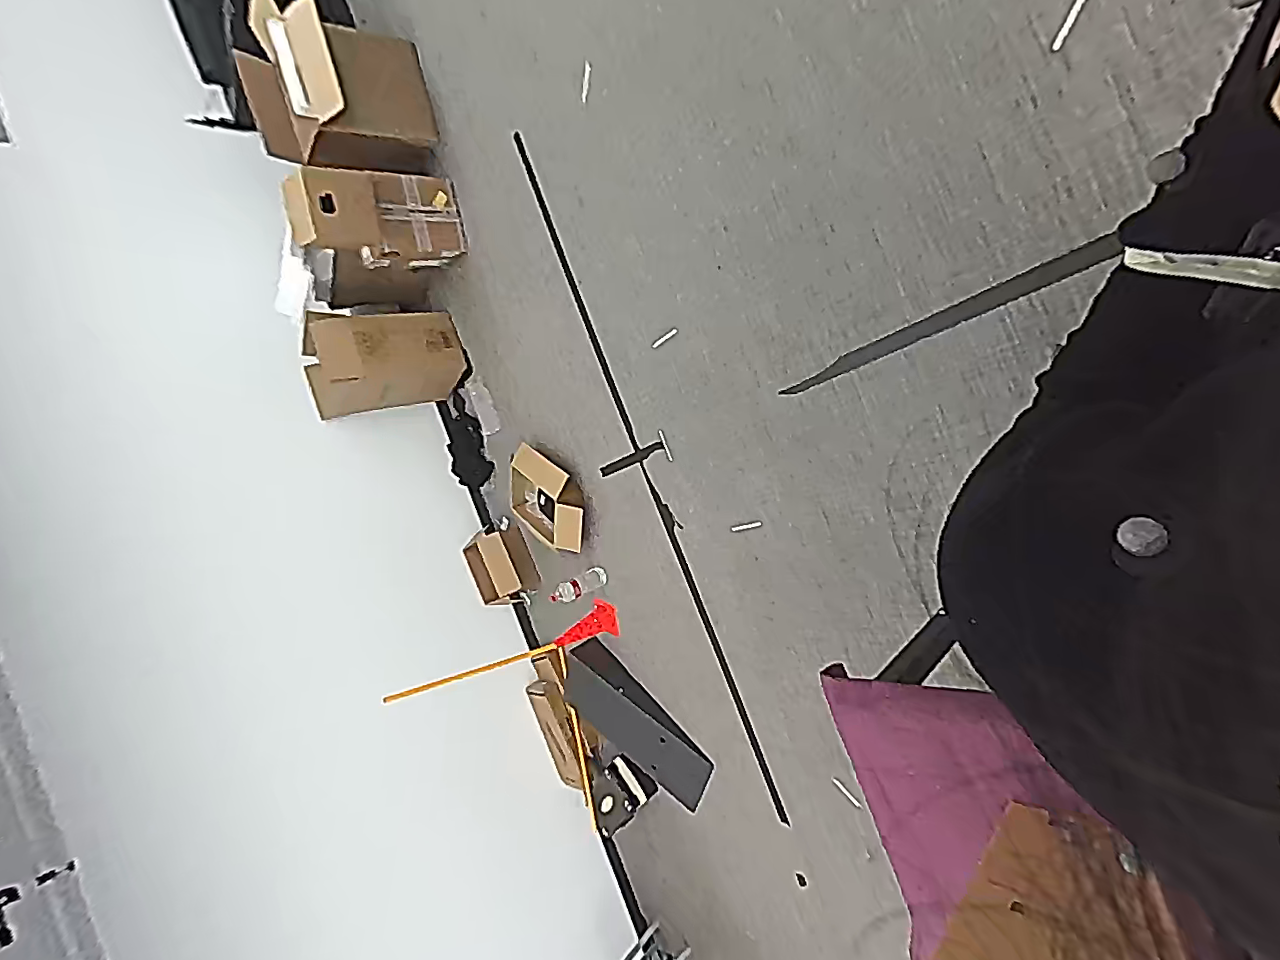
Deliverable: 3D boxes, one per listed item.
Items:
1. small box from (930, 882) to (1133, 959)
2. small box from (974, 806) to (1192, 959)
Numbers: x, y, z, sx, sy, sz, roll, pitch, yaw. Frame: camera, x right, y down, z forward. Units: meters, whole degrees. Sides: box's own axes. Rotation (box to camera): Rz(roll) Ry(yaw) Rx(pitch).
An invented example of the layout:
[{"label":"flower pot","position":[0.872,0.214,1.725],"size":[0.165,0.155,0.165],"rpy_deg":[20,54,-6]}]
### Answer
[{"label":"small box","position":[0.452,0.616,0.604],"size":[0.168,0.176,0.179],"rpy_deg":[-14,96,52]},{"label":"small box","position":[0.577,0.576,0.703],"size":[0.168,0.176,0.179],"rpy_deg":[-17,92,52]}]
